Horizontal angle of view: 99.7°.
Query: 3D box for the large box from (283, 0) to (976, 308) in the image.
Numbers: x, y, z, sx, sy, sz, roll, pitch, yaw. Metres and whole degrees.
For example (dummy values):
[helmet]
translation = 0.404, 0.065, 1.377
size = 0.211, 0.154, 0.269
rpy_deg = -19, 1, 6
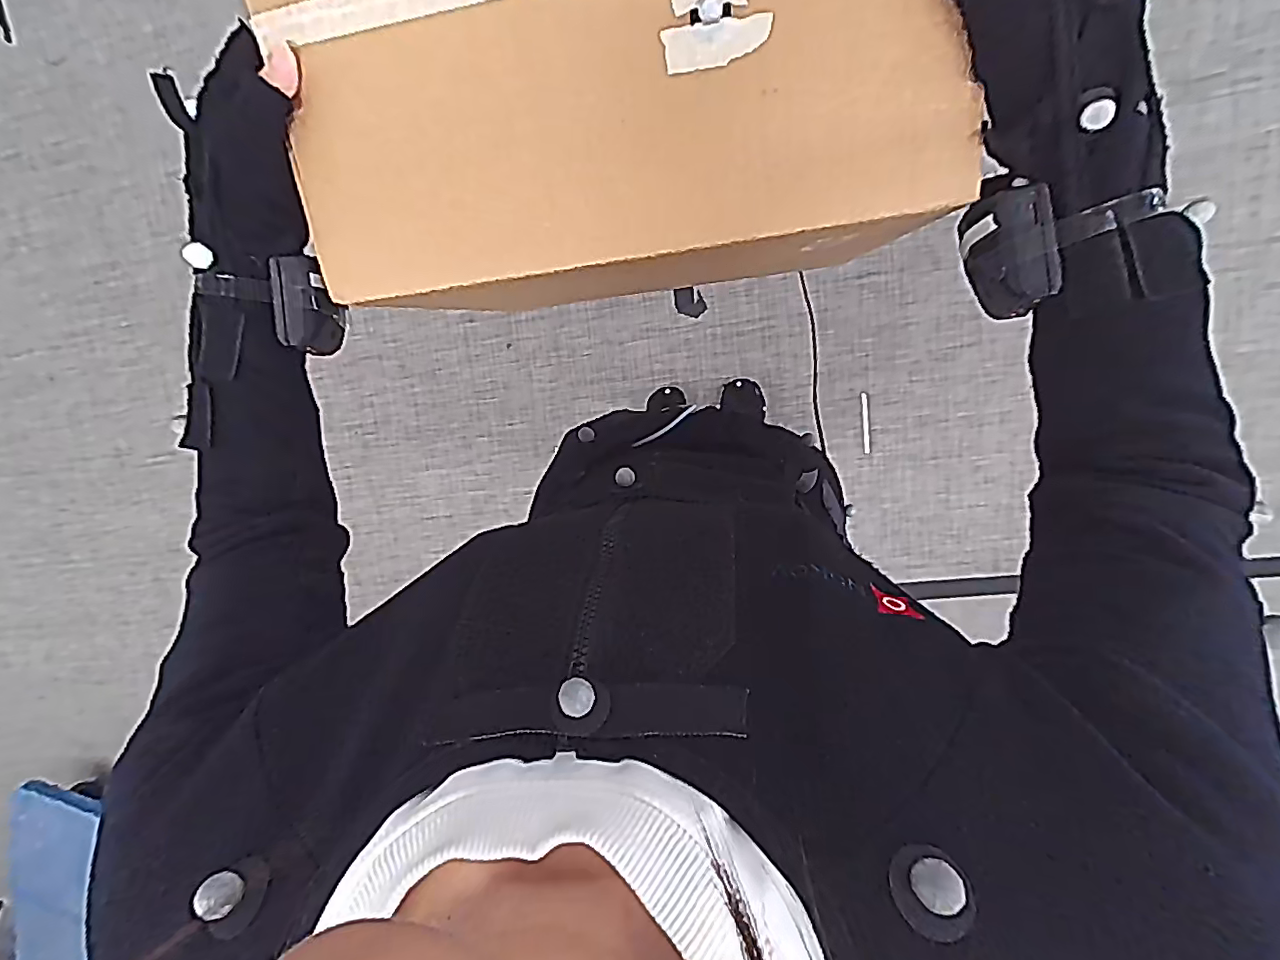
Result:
[large box]
translation = -0.006, -0.336, 0.447
size = 0.408, 0.320, 0.320
rpy_deg = -6, 106, 9
